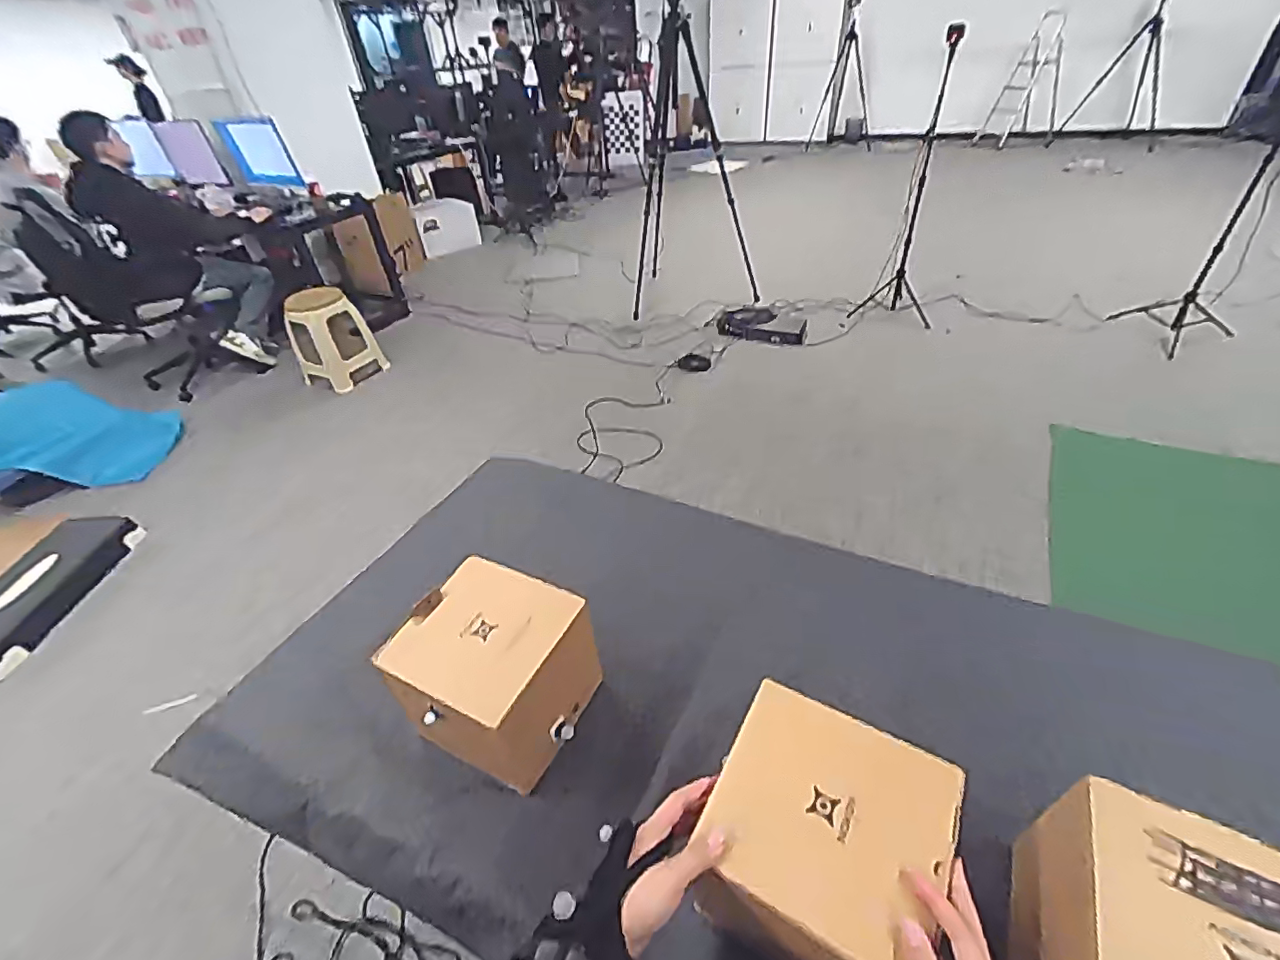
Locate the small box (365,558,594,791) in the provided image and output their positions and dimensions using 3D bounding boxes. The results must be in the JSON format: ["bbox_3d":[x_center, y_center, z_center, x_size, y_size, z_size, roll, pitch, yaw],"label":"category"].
[{"bbox_3d":[-0.173,0.225,0.634,0.179,0.176,0.168,16,44,22],"label":"small box"}]

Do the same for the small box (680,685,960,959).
[{"bbox_3d":[0.150,0.325,0.475,0.179,0.176,0.168,19,45,26],"label":"small box"}]
